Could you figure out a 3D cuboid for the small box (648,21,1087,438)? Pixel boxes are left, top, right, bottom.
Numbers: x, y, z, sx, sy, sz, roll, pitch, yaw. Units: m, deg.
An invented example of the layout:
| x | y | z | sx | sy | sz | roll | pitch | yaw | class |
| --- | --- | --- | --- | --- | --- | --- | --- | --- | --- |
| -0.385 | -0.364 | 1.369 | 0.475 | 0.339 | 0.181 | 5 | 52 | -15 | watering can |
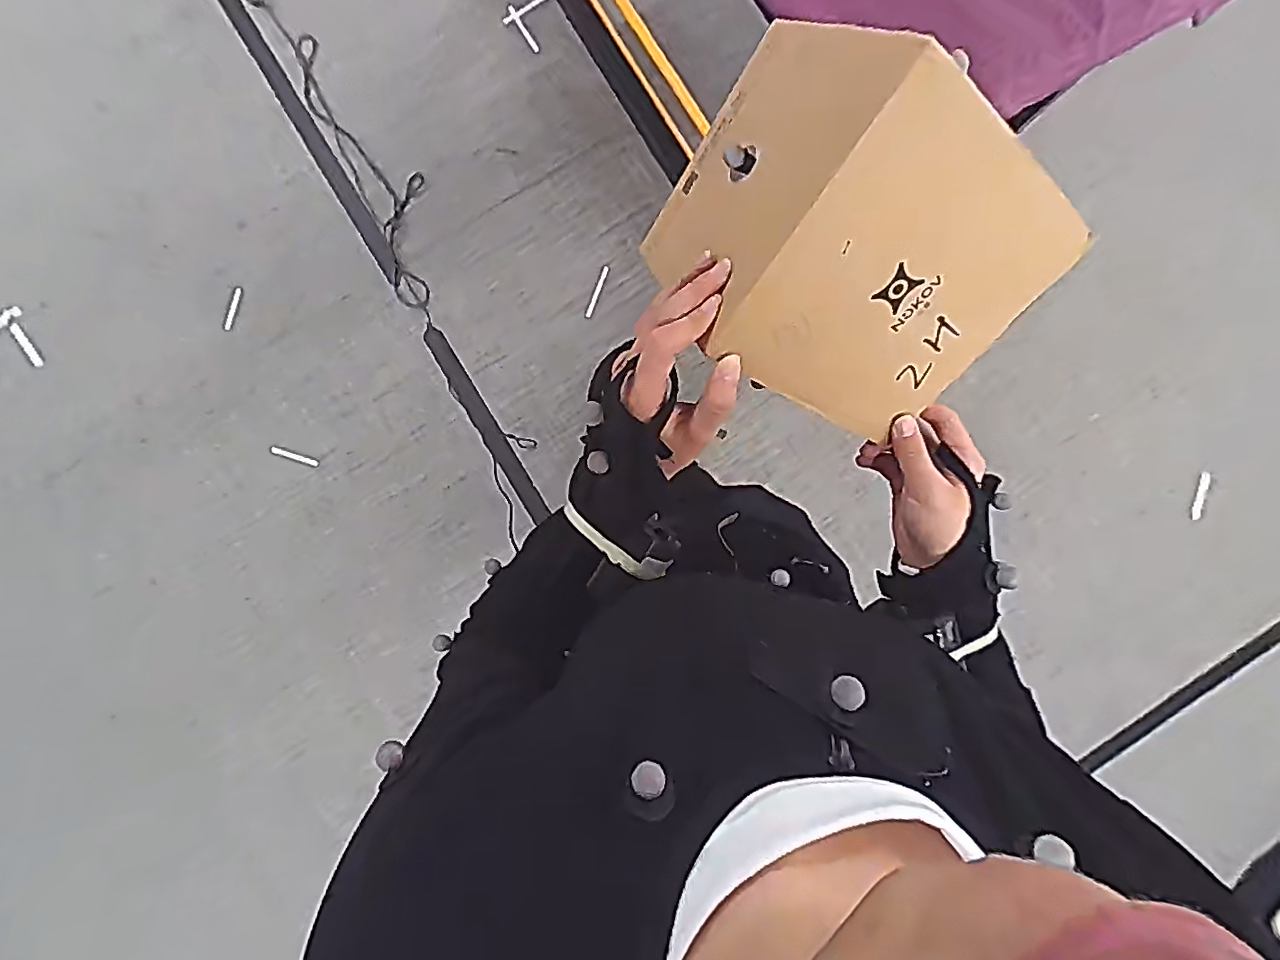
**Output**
| x | y | z | sx | sy | sz | roll | pitch | yaw | class |
| --- | --- | --- | --- | --- | --- | --- | --- | --- | --- |
| 0.128 | -0.162 | 0.364 | 0.179 | 0.176 | 0.168 | 18 | 125 | -31 | small box |
